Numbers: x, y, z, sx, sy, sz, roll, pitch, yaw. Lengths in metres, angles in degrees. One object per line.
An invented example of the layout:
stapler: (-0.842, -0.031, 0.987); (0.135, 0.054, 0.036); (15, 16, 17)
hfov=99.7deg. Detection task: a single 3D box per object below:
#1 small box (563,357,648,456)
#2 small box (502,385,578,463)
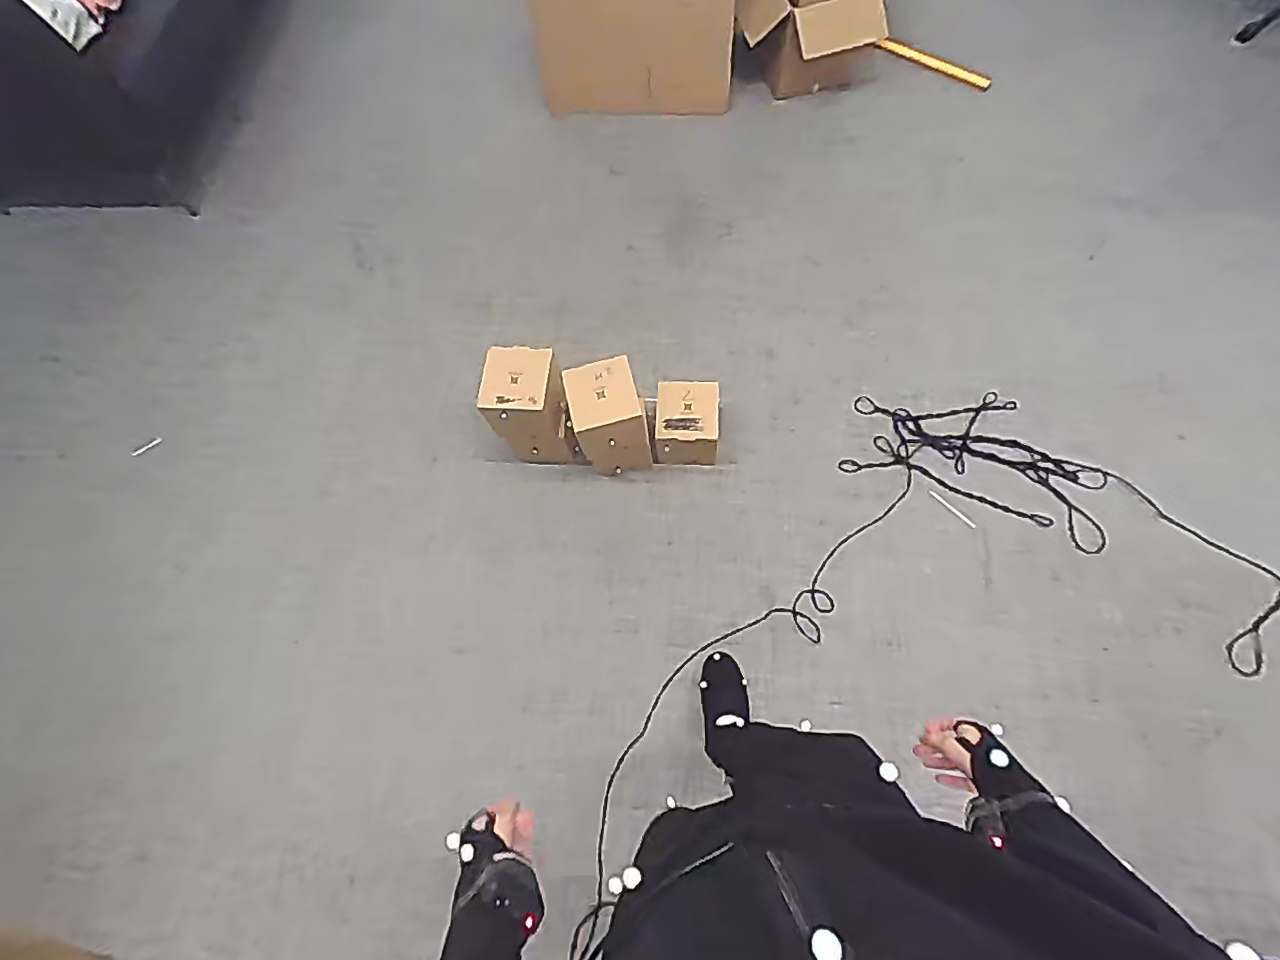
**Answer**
small box: (-0.081, -0.174, 1.352); (0.168, 0.176, 0.179); (-14, 67, 0)
small box: (-0.271, -0.155, 1.538); (0.179, 0.176, 0.168); (2, 68, 7)
